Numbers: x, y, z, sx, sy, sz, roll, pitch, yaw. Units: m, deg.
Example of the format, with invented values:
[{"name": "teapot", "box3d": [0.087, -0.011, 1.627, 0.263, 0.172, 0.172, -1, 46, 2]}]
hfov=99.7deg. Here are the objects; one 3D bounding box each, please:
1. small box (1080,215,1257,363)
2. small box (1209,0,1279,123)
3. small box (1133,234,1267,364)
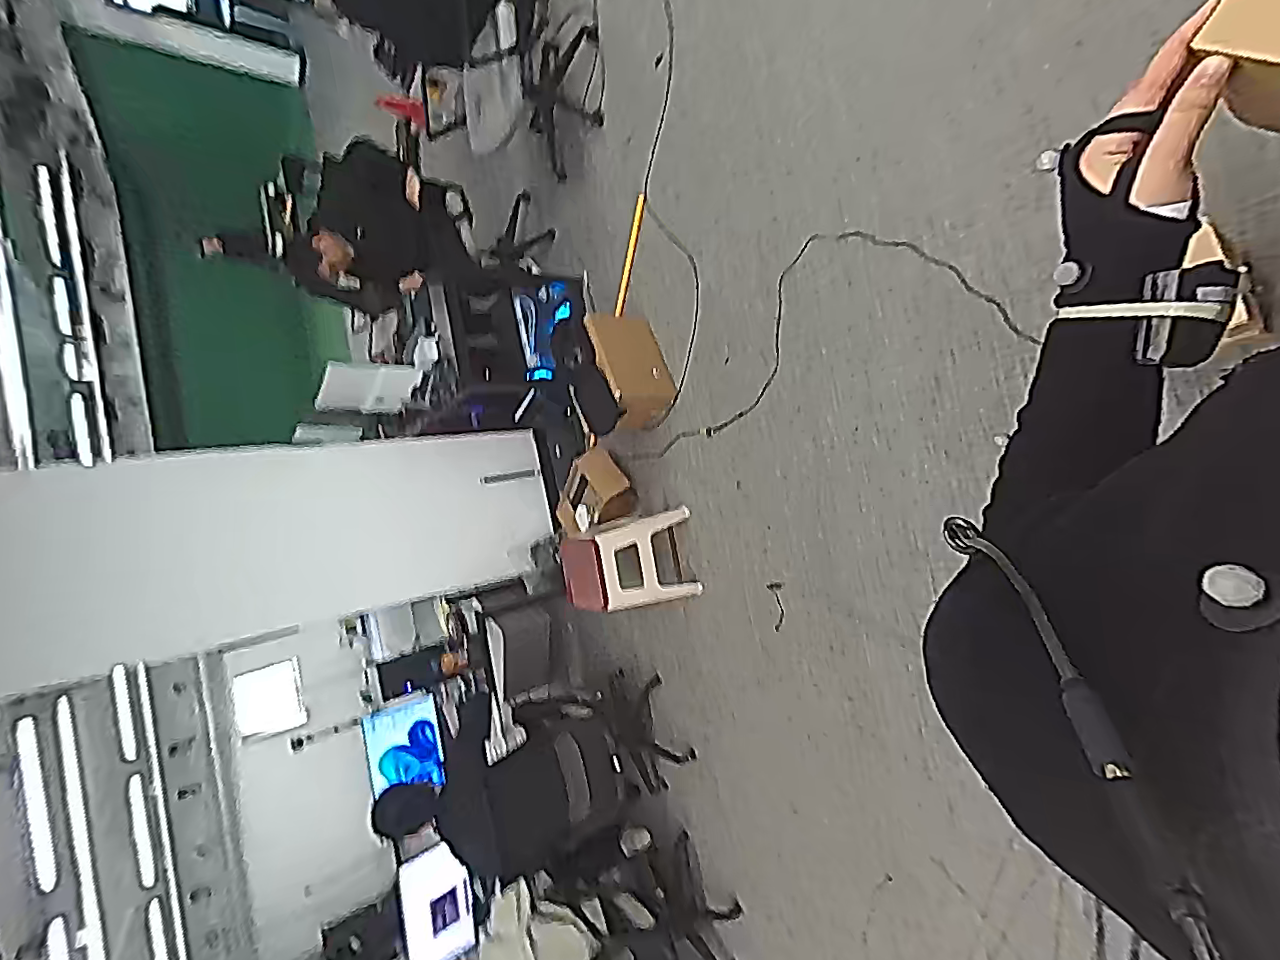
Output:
[{"name": "small box", "box3d": [0.898, -0.313, 0.919, 0.168, 0.176, 0.179, -23, 77, 52]}, {"name": "small box", "box3d": [0.455, -0.279, 0.264, 0.168, 0.176, 0.179, 53, 135, 34]}, {"name": "small box", "box3d": [1.028, -0.327, 1.015, 0.168, 0.176, 0.179, -20, 82, 53]}]
